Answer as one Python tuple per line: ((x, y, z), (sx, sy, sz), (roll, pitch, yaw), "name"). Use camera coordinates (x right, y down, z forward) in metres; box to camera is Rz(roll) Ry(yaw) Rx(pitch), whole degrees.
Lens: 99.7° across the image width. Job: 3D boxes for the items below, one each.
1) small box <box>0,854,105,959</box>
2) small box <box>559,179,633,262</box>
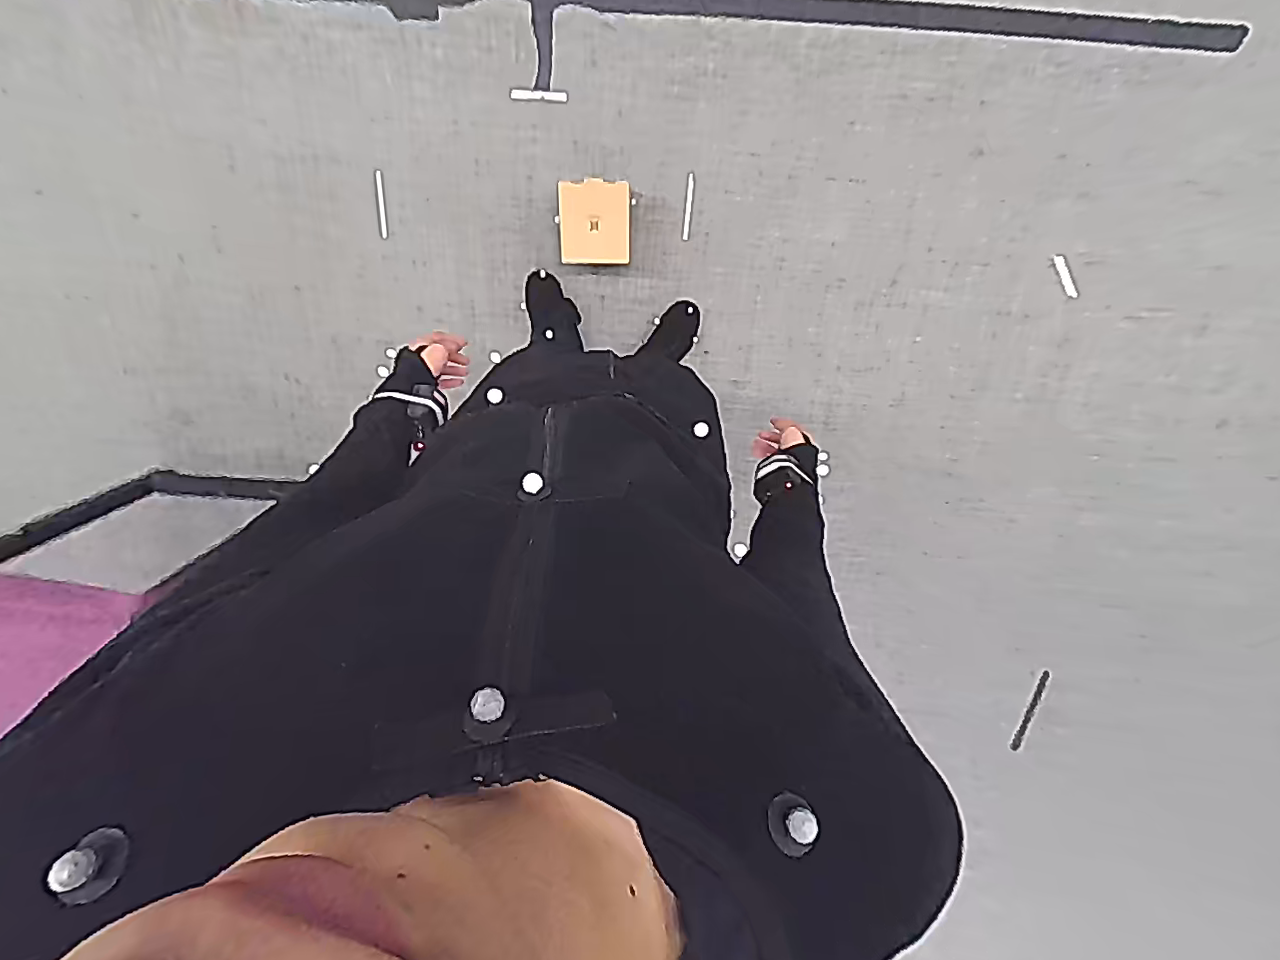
((-1.196, 0.849, 1.027), (0.179, 0.176, 0.168), (6, 113, 0), "small box")
((-0.102, -0.635, 1.335), (0.168, 0.176, 0.179), (1, 113, 1), "small box")
